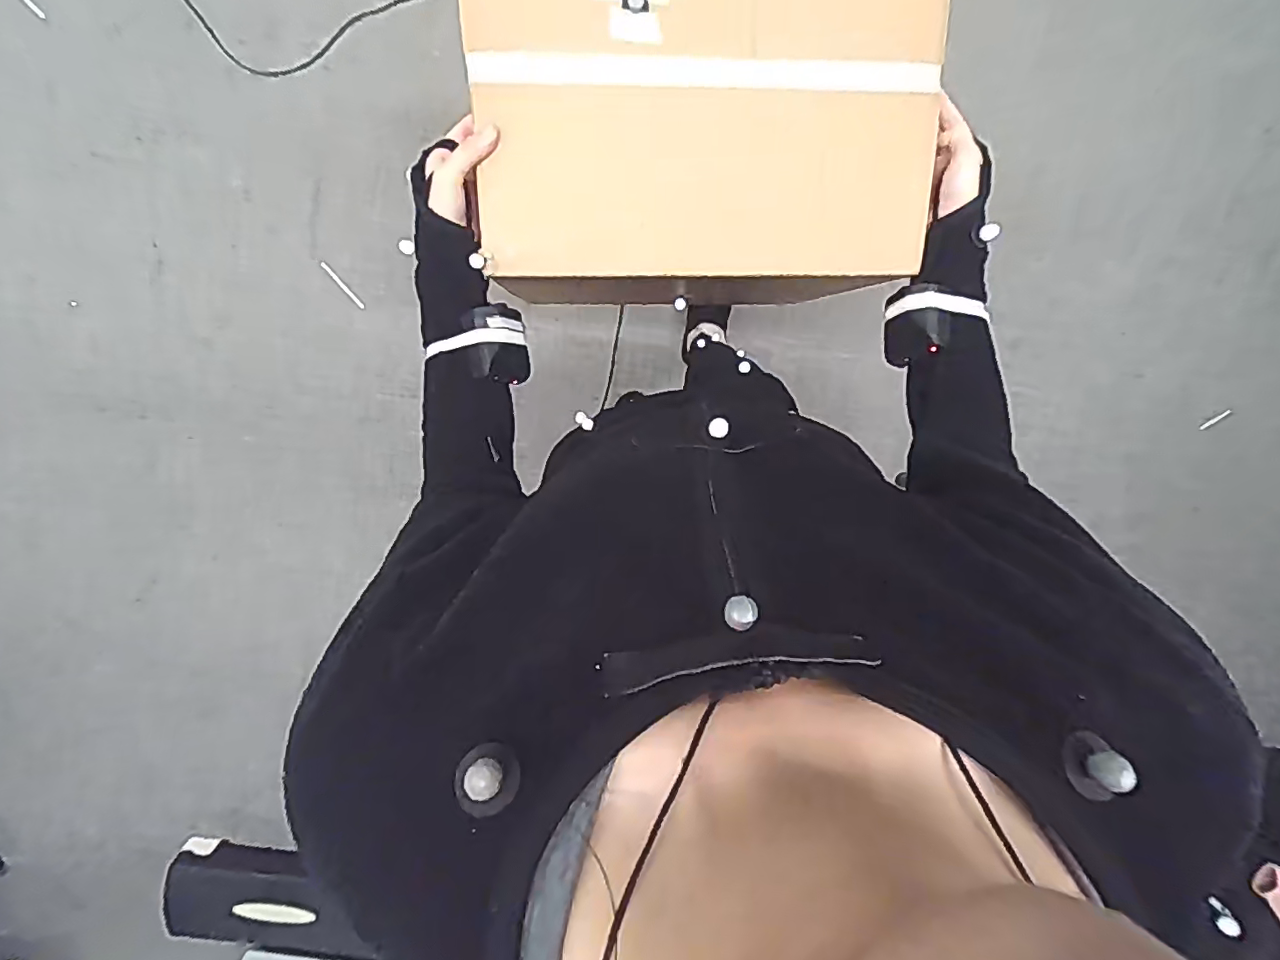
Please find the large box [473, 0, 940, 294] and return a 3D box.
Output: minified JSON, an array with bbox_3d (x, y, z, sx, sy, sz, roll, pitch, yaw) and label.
[{"bbox_3d":[0.052,-0.386,0.612,0.408,0.320,0.320,-2,103,-4],"label":"large box"}]
